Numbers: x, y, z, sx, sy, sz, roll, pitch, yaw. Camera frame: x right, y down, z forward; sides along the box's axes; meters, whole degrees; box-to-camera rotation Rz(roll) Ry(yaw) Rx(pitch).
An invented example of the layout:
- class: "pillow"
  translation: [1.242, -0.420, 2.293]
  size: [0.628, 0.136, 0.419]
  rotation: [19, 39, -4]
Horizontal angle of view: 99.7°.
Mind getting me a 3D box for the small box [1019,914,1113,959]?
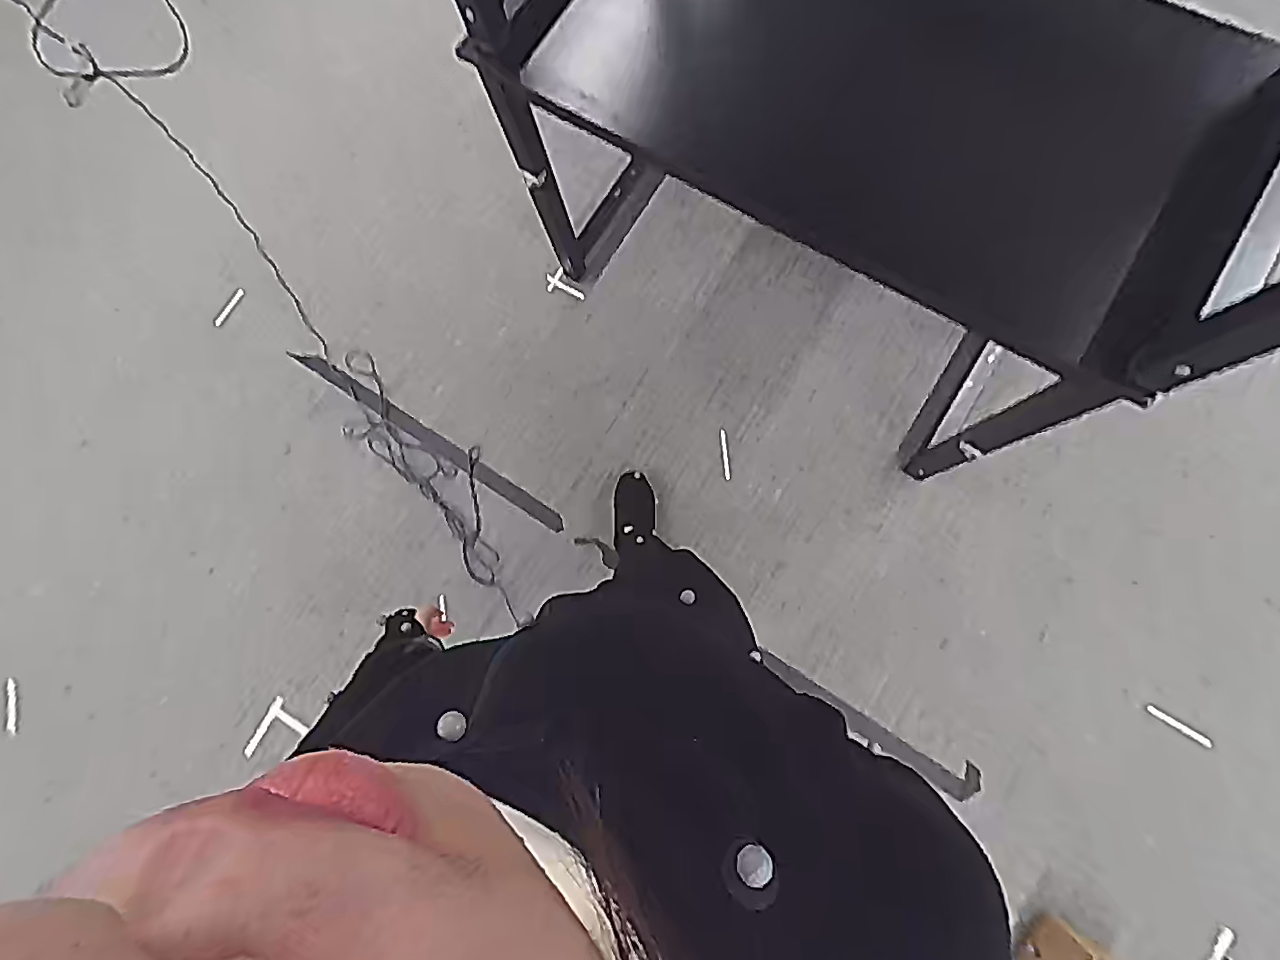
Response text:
- class: "small box"
  translation: [0.960, 1.110, 1.164]
  size: [0.168, 0.176, 0.179]
  rotation: [34, 86, 9]
